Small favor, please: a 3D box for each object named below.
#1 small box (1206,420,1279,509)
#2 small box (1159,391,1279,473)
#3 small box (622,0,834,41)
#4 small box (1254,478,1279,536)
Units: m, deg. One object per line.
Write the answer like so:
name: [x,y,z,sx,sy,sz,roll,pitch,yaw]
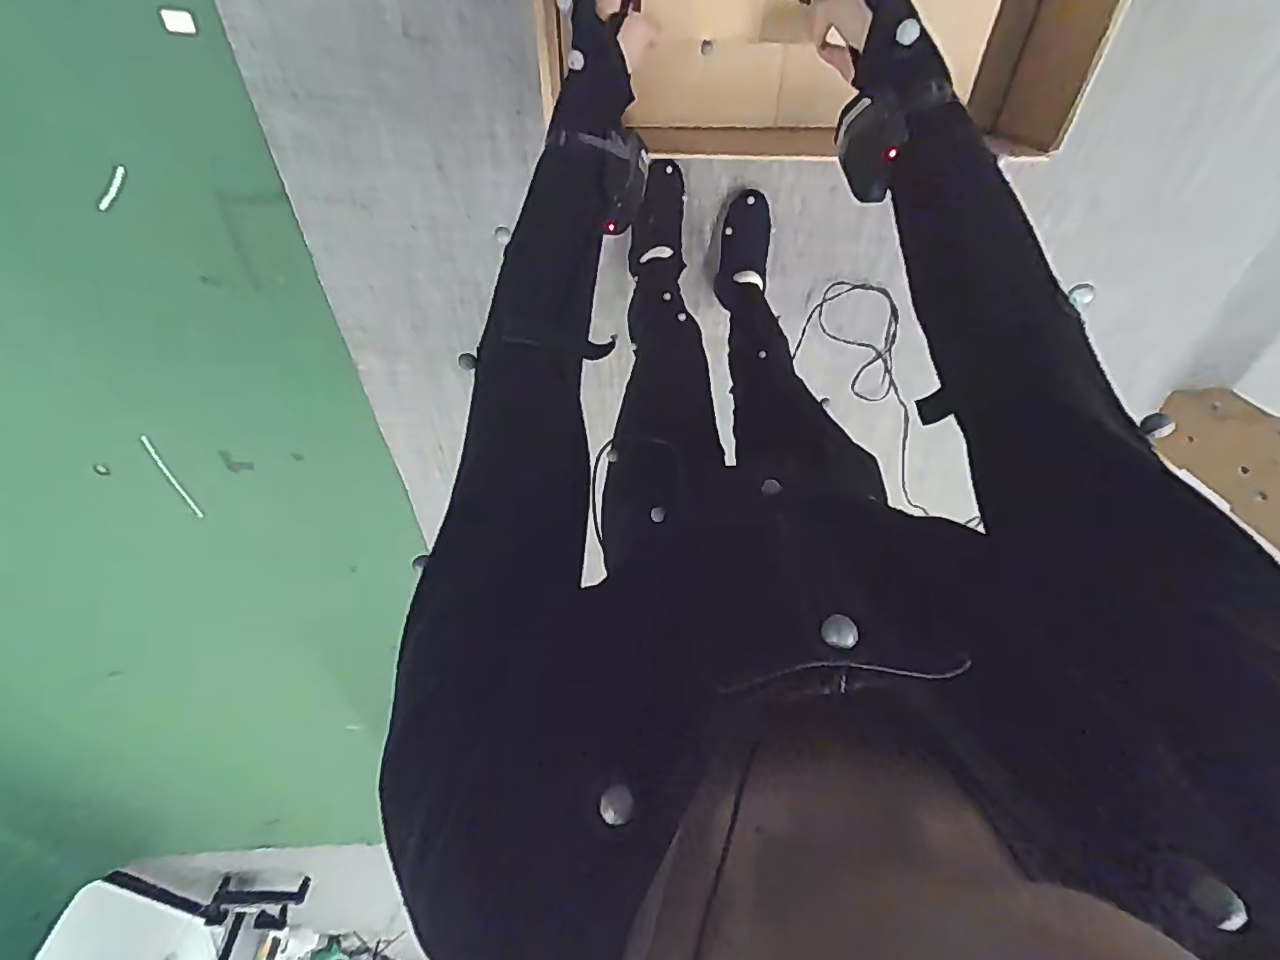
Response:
small box: [1.656,-0.045,1.403,0.168,0.176,0.179,-2,130,0]
small box: [1.651,-0.142,1.534,0.168,0.176,0.179,-3,131,0]
small box: [0.078,-0.514,0.489,0.179,0.176,0.168,-3,132,-6]
small box: [1.646,0.064,1.281,0.168,0.176,0.179,-4,131,1]
